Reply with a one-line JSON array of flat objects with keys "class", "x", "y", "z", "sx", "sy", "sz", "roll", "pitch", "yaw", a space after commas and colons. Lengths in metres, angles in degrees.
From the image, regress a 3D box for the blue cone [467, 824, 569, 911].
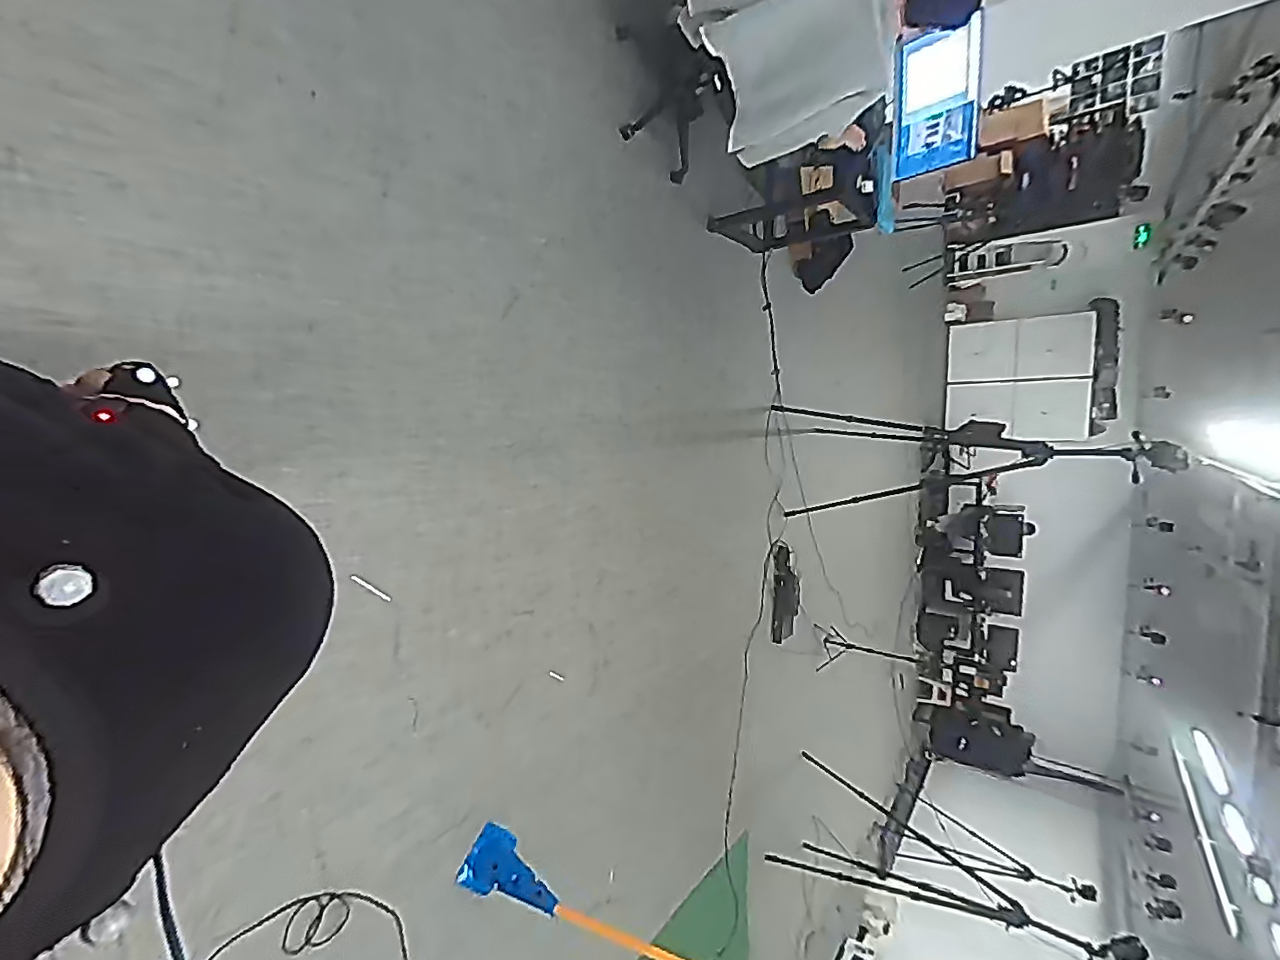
[{"class": "blue cone", "x": -0.392, "y": 1.353, "z": 1.835, "sx": 0.192, "sy": 0.380, "sz": 0.193, "roll": 58, "pitch": 48, "yaw": -36}]
